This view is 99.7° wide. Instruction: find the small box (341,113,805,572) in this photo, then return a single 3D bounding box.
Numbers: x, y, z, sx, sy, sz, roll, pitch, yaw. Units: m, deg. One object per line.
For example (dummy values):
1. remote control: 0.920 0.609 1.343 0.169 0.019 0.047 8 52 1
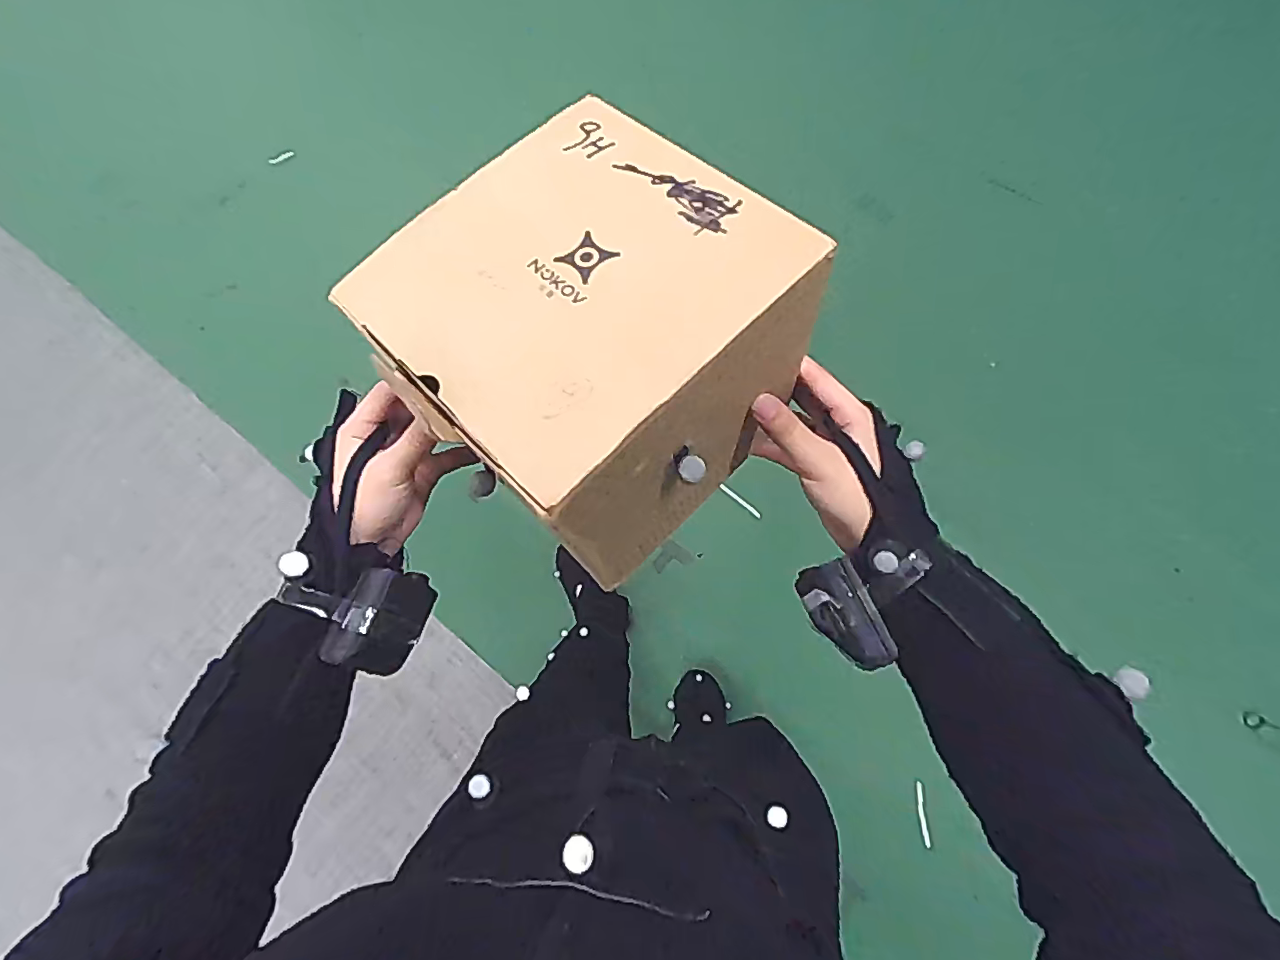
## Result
1. small box: -0.027 -0.066 0.334 0.168 0.176 0.179 42 79 19
